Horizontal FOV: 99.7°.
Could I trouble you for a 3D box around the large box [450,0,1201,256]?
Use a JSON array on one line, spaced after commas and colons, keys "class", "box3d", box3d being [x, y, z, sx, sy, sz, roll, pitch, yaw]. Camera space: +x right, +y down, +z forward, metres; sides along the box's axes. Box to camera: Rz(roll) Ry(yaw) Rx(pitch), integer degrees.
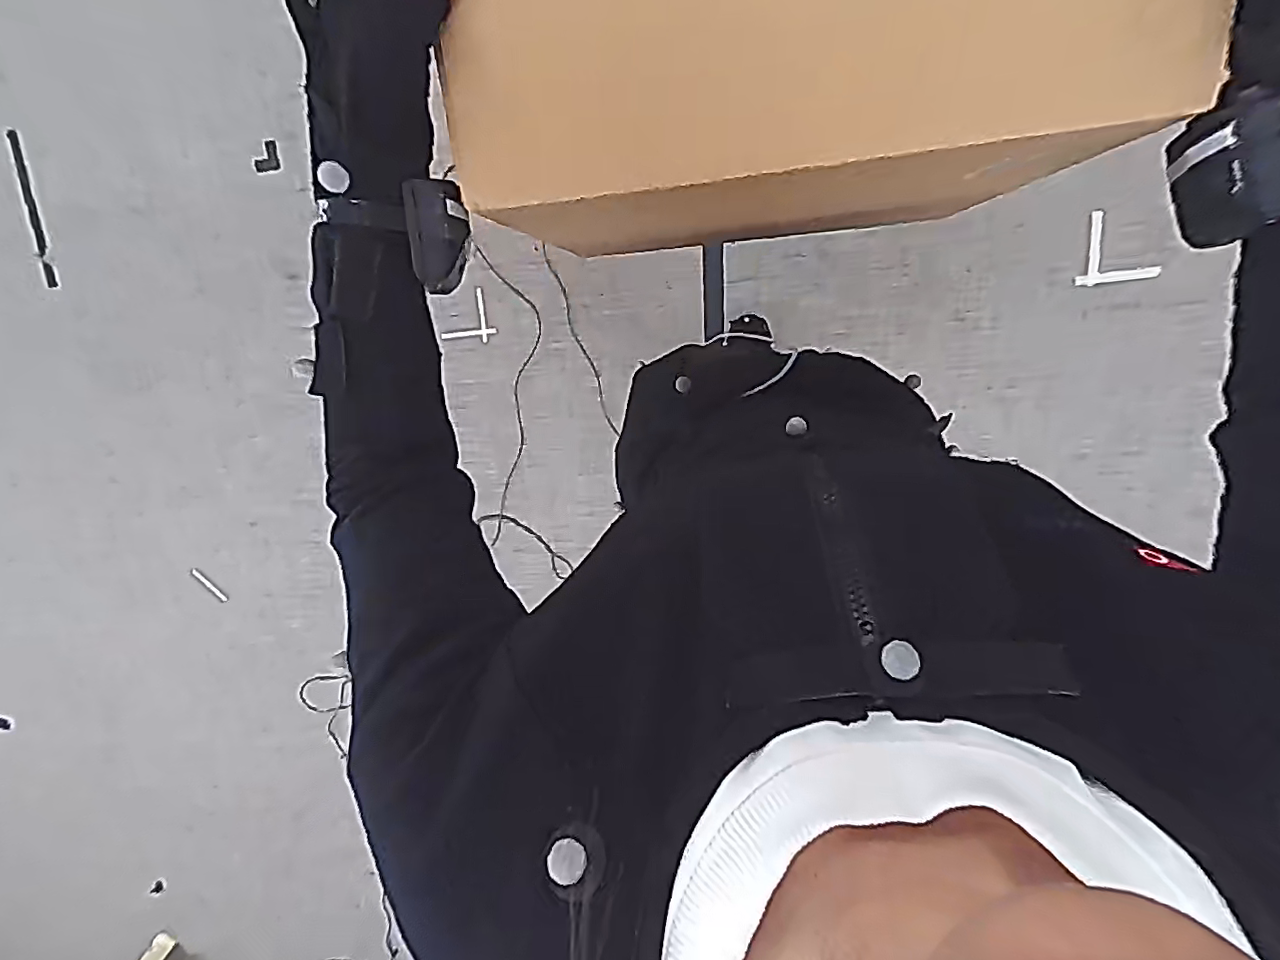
[{"class": "large box", "box3d": [0.094, -0.377, 0.416, 0.408, 0.320, 0.320, -4, 107, 7]}]
